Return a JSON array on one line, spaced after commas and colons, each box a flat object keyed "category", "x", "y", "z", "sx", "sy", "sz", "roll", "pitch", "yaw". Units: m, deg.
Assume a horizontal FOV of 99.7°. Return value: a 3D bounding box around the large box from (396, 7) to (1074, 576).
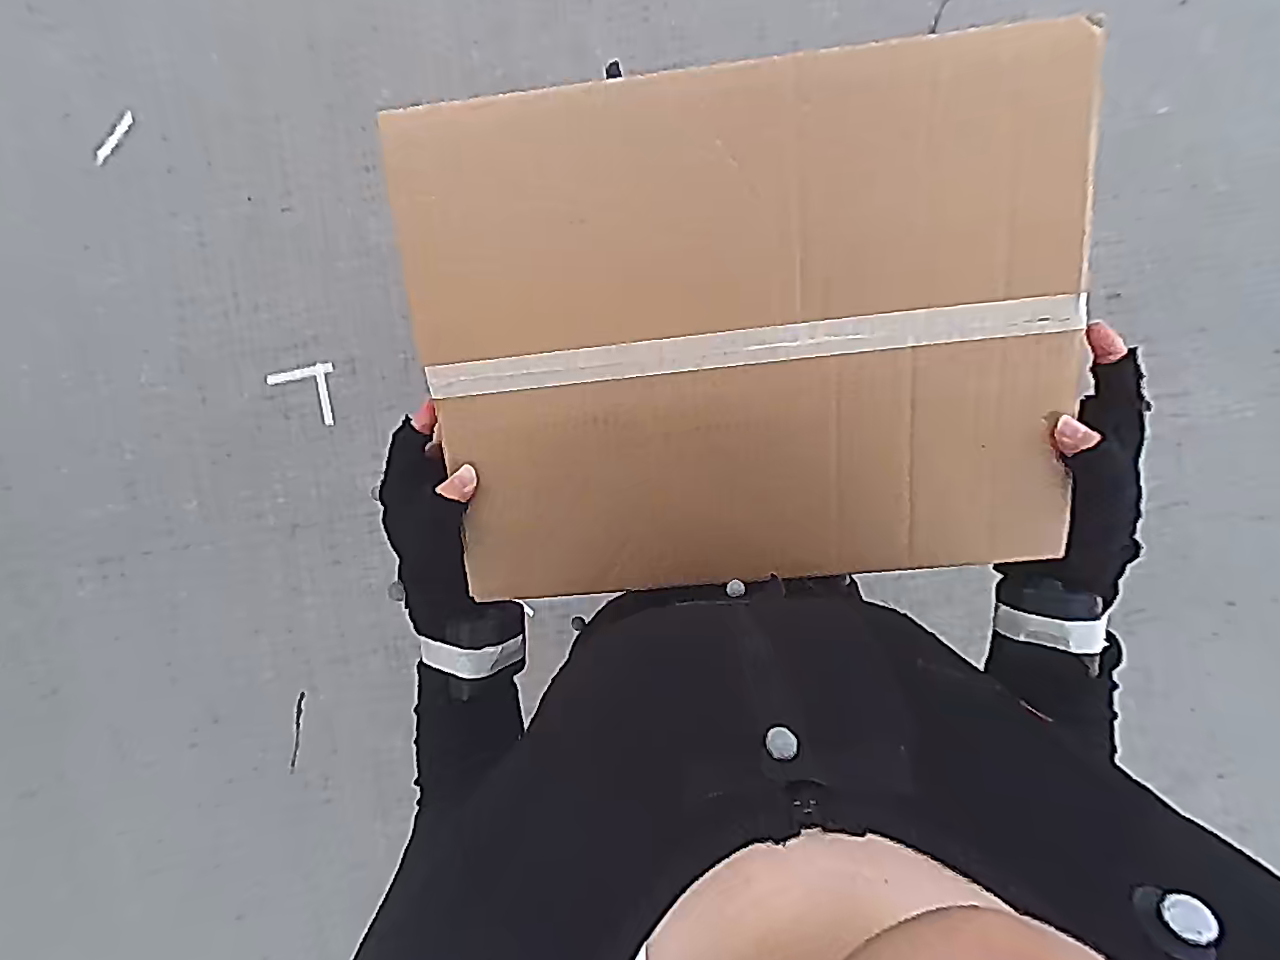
[{"category": "large box", "x": 0.067, "y": -0.131, "z": 0.492, "sx": 0.408, "sy": 0.320, "sz": 0.320, "roll": -5, "pitch": 104, "yaw": 3}]
